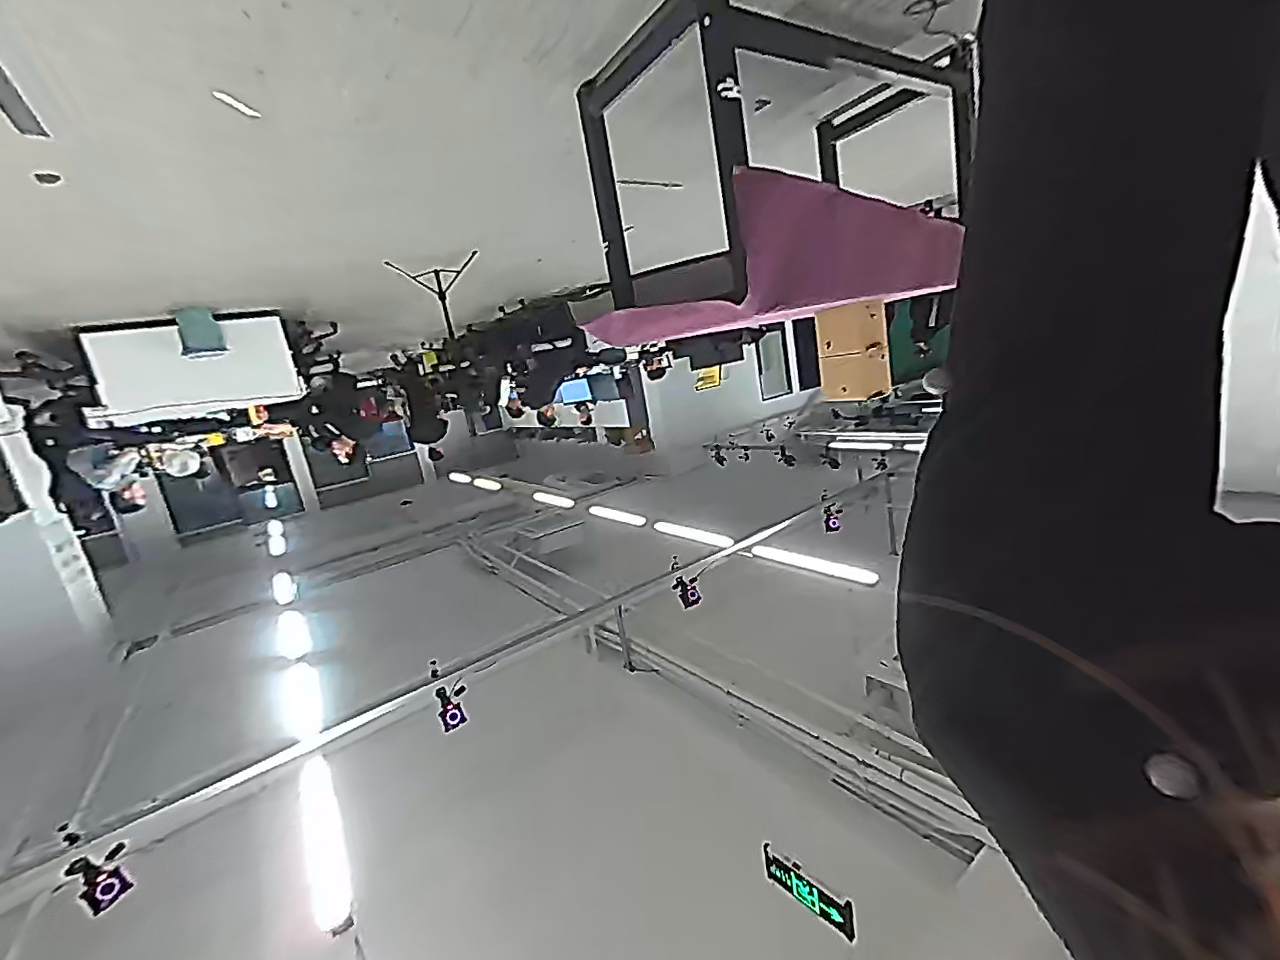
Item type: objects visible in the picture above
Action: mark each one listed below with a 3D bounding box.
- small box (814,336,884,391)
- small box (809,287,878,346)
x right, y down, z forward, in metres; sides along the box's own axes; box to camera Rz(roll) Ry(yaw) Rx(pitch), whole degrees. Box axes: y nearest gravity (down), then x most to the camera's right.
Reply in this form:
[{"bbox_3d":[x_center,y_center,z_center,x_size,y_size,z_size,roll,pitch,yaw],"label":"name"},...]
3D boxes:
[{"bbox_3d":[0.752,-0.425,1.958,0.168,0.176,0.179,-18,-164,-29],"label":"small box"},{"bbox_3d":[0.719,-0.582,1.920,0.168,0.176,0.179,-21,-165,-32],"label":"small box"}]
